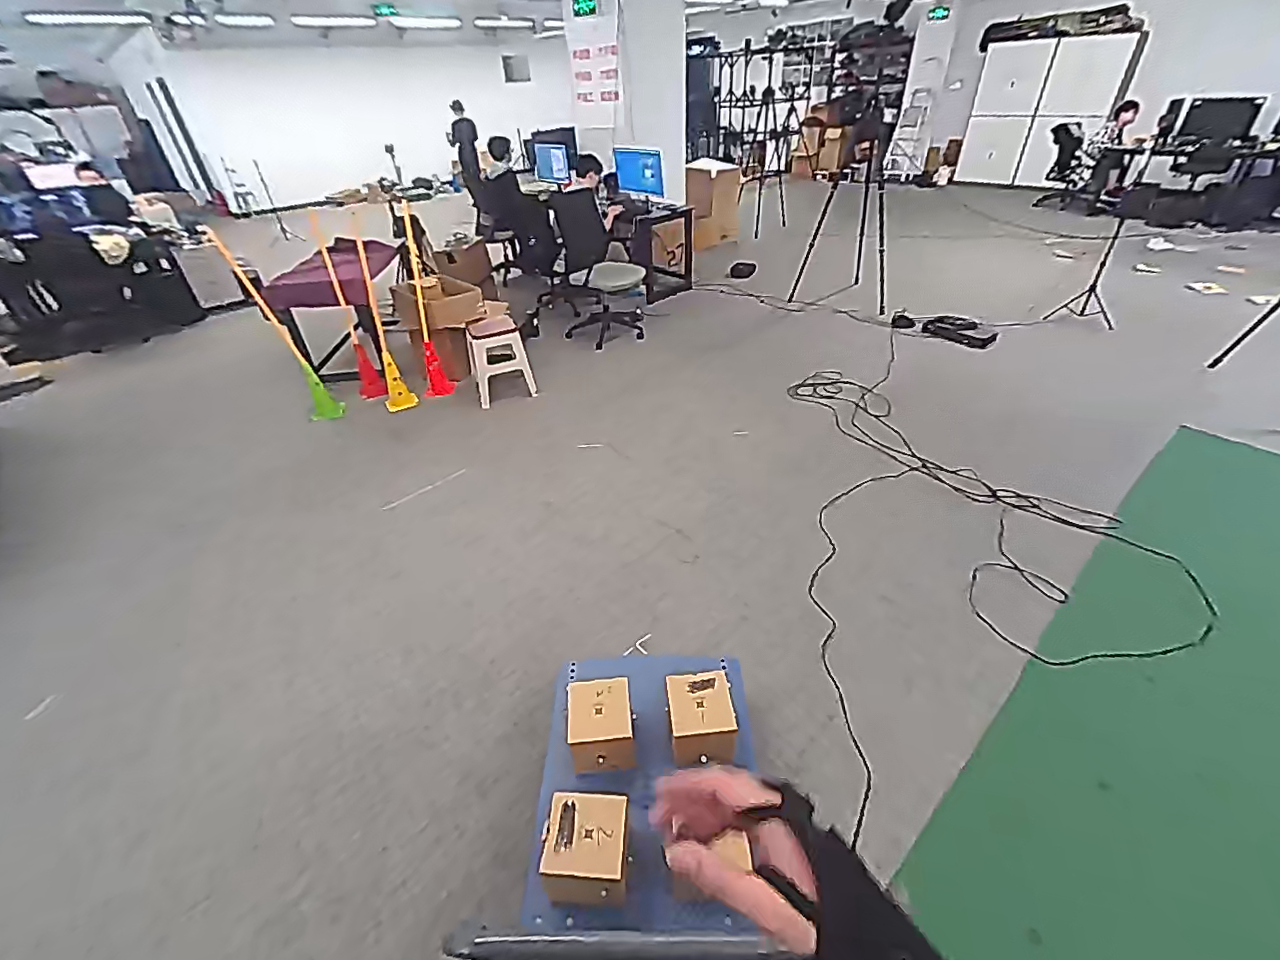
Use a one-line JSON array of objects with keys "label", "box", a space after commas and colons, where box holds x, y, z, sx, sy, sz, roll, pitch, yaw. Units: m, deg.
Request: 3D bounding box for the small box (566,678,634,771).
[{"label": "small box", "box": [-0.107, 0.669, 1.471, 0.168, 0.176, 0.179, -4, 36, -3]}]

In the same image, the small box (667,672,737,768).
[{"label": "small box", "box": [0.161, 0.652, 1.474, 0.168, 0.176, 0.179, -5, 37, -2]}]

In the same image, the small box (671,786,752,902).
[{"label": "small box", "box": [0.155, 0.830, 1.237, 0.168, 0.176, 0.179, -2, 37, 2]}]
